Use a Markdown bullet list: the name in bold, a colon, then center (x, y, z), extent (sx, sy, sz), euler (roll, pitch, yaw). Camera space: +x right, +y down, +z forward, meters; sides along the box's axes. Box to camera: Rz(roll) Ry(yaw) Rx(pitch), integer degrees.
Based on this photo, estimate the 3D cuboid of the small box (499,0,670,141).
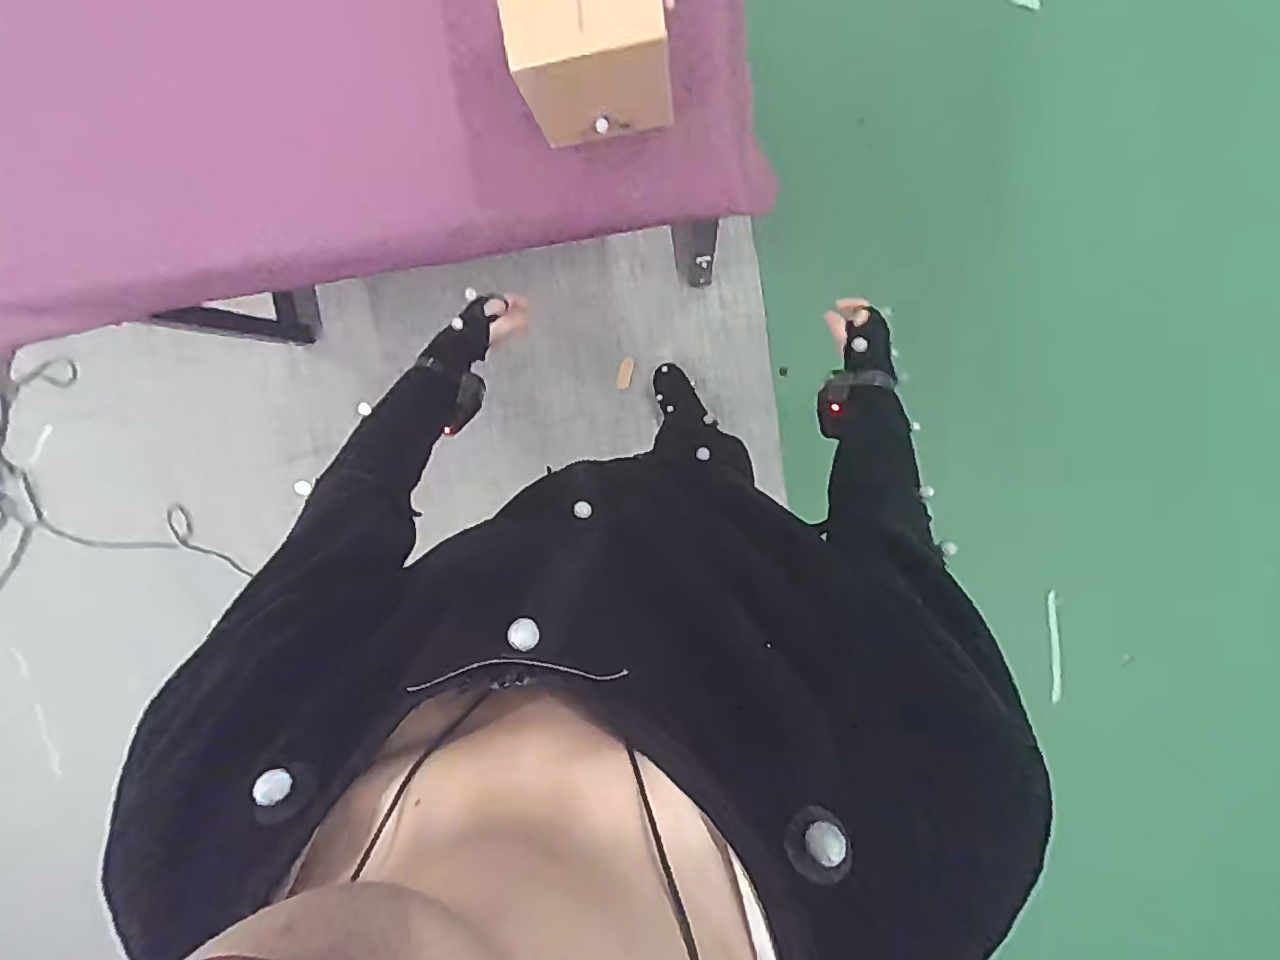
- **small box**: center (-0.059, -0.529, 0.615), extent (0.168, 0.176, 0.179), euler (-8, 96, 7)
